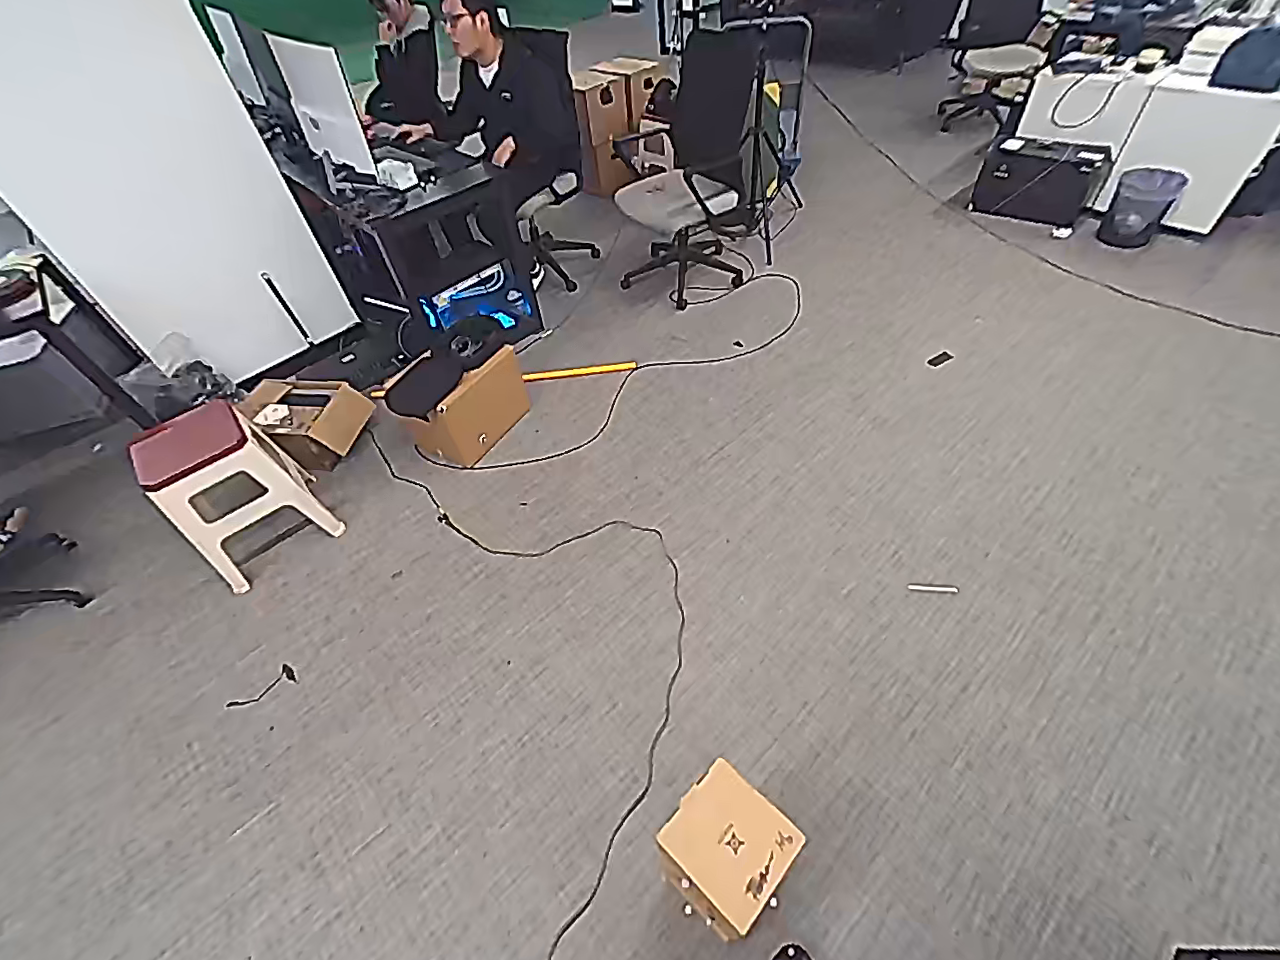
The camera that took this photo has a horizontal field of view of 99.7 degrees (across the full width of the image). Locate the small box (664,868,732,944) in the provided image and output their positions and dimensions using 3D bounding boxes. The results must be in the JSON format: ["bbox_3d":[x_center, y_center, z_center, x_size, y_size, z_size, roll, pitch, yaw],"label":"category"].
[{"bbox_3d":[0.167,0.828,1.145,0.168,0.176,0.179,34,61,30],"label":"small box"}]

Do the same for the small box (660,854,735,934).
[{"bbox_3d":[0.157,0.717,1.028,0.168,0.176,0.179,31,57,28],"label":"small box"}]

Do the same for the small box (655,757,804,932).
[{"bbox_3d":[0.144,0.611,0.902,0.179,0.176,0.168,34,60,30],"label":"small box"}]
